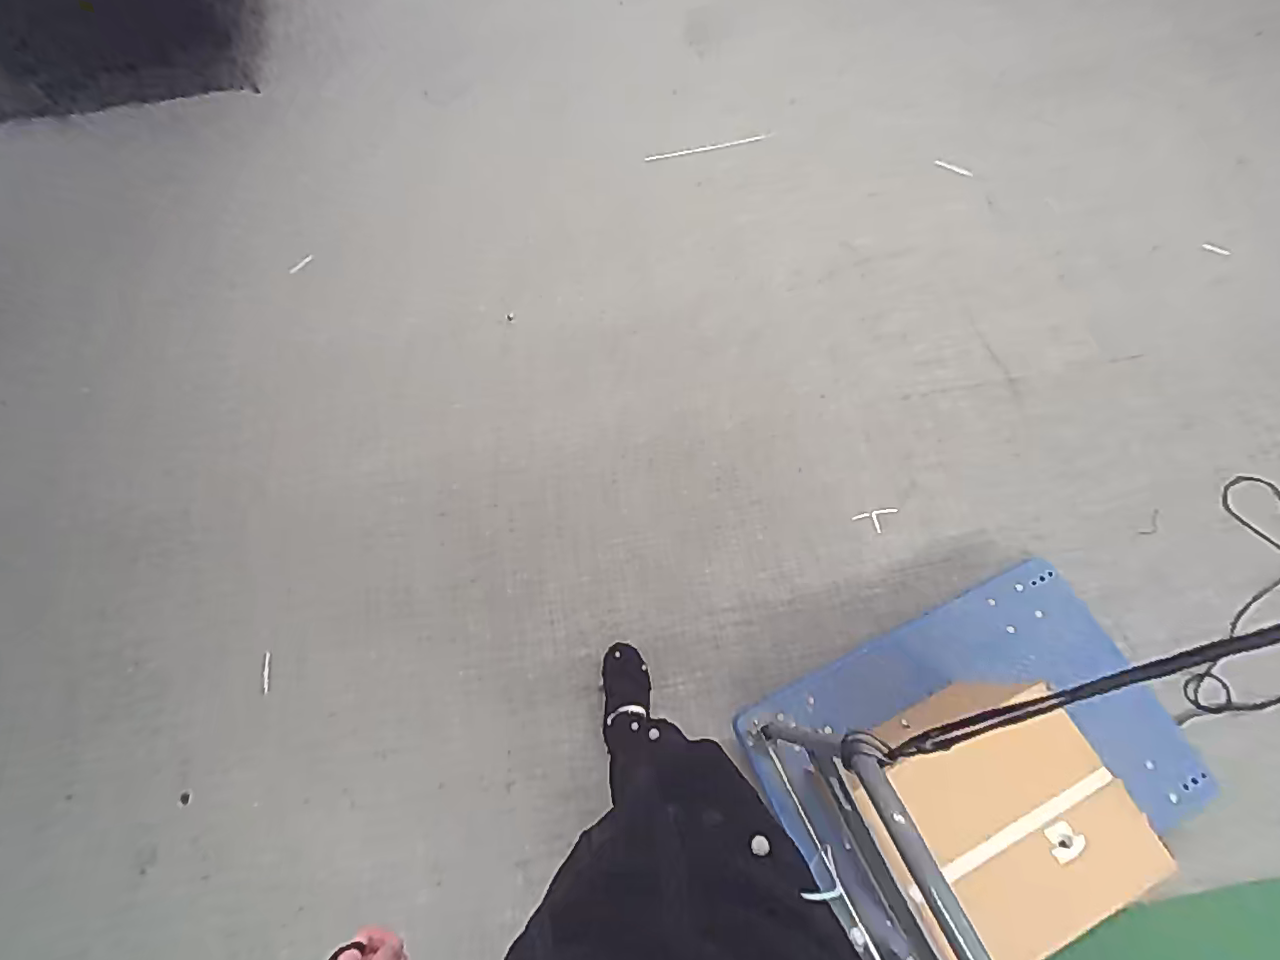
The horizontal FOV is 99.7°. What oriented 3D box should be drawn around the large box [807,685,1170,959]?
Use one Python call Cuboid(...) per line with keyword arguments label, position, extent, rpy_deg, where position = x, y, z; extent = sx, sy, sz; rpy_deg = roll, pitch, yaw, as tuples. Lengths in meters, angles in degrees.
Cuboid(label="large box", position=(0.592, 0.624, 1.006), extent=(0.408, 0.320, 0.320), rpy_deg=(-25, 71, -8))
